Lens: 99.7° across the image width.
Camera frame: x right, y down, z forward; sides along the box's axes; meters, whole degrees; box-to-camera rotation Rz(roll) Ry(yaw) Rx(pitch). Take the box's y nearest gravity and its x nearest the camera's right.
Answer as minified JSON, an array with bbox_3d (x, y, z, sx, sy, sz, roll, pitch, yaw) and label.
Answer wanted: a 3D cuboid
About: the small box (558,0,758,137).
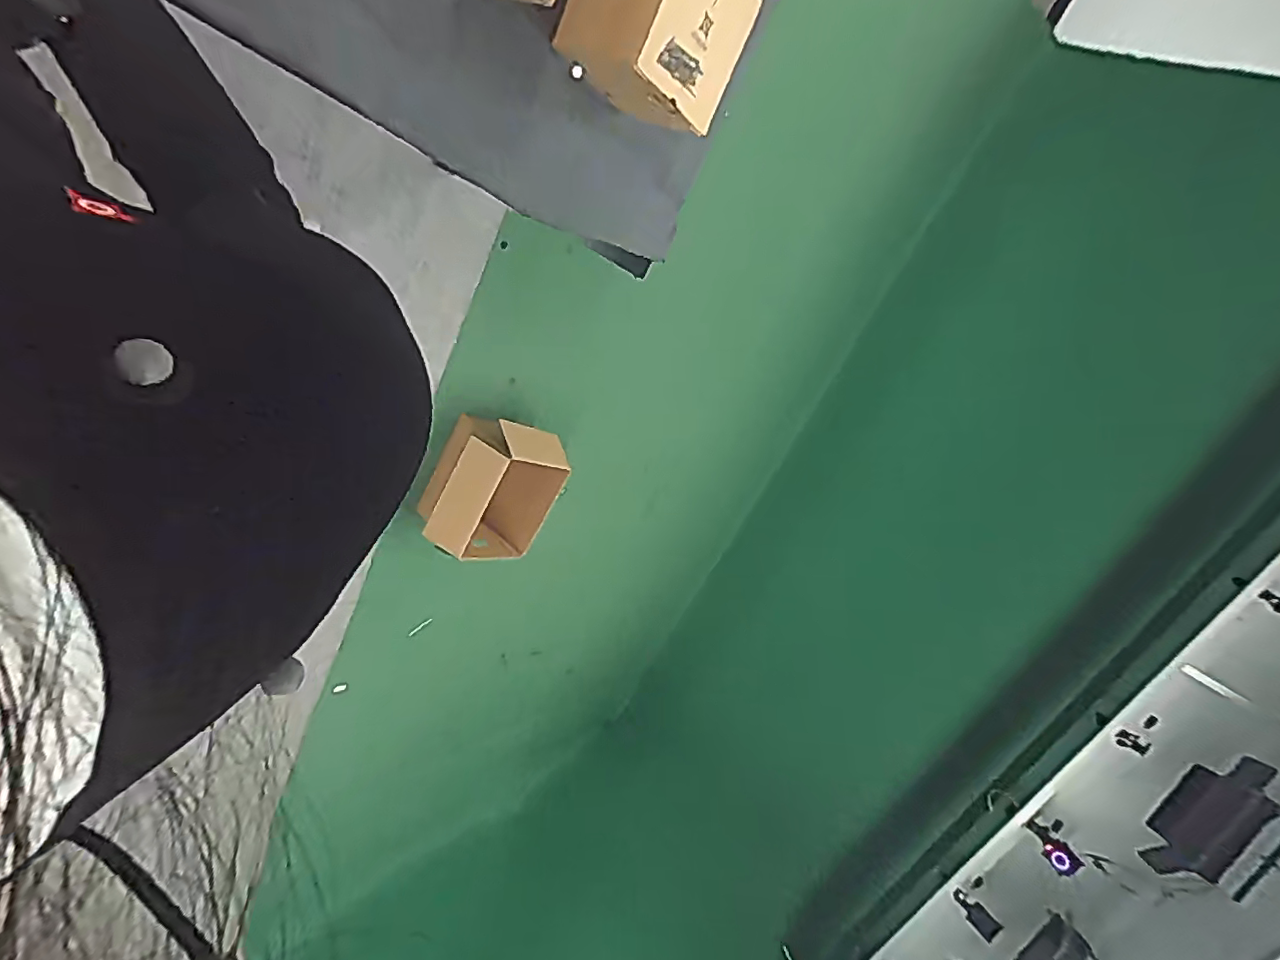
[{"bbox_3d":[0.018,-0.600,0.714,0.168,0.176,0.179,0,121,-55],"label":"small box"}]

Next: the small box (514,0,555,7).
[{"bbox_3d":[-0.154,-0.590,0.490,0.168,0.176,0.179,0,123,-55],"label":"small box"}]
